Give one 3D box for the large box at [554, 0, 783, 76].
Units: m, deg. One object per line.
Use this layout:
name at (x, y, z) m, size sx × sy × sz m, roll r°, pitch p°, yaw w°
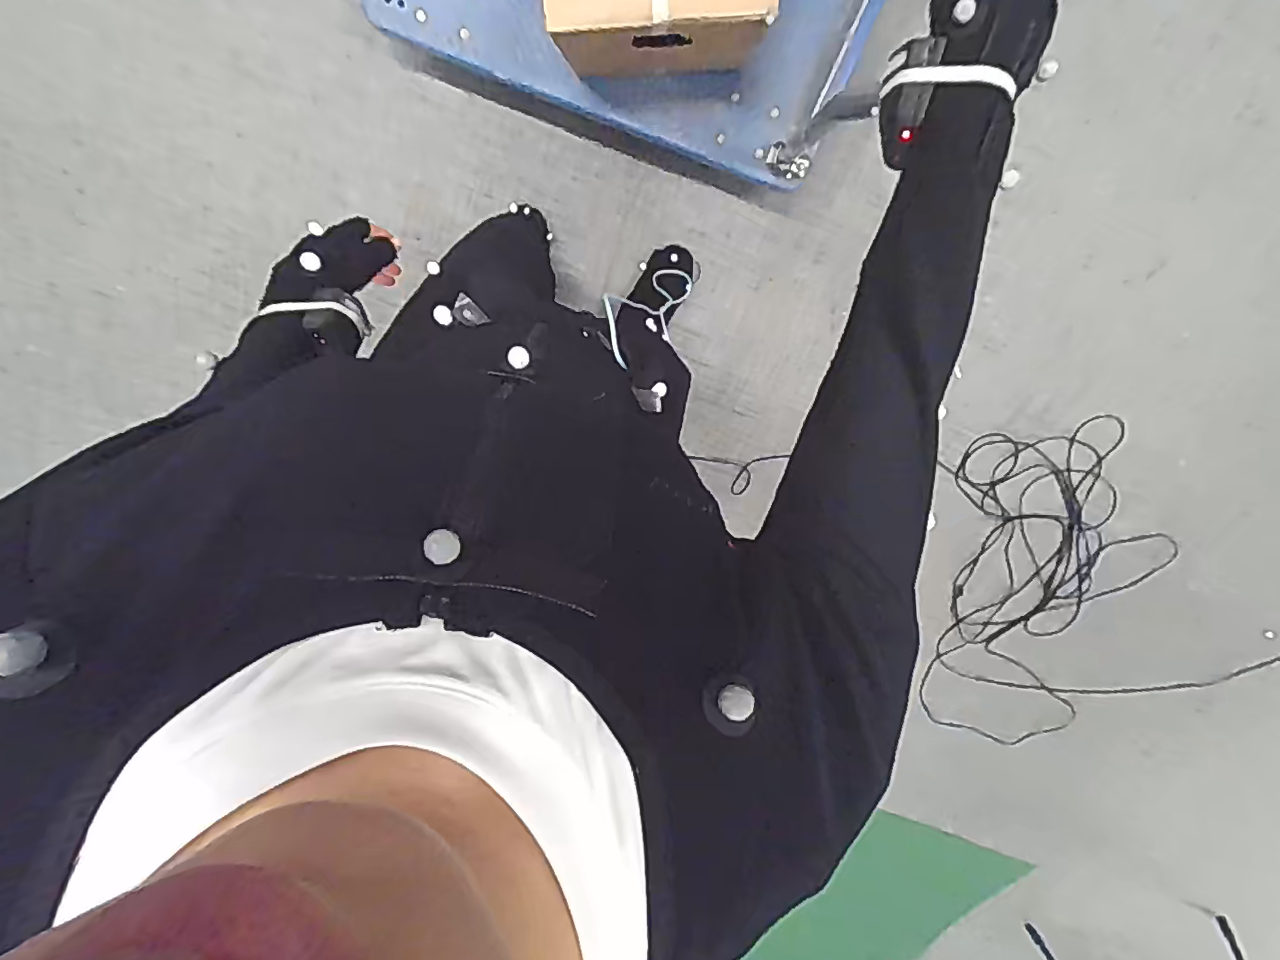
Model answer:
large box at (0.030, -0.861, 0.774) m, size 0.320 × 0.320 × 0.408 m, roll -2°, pitch 118°, yaw 4°
